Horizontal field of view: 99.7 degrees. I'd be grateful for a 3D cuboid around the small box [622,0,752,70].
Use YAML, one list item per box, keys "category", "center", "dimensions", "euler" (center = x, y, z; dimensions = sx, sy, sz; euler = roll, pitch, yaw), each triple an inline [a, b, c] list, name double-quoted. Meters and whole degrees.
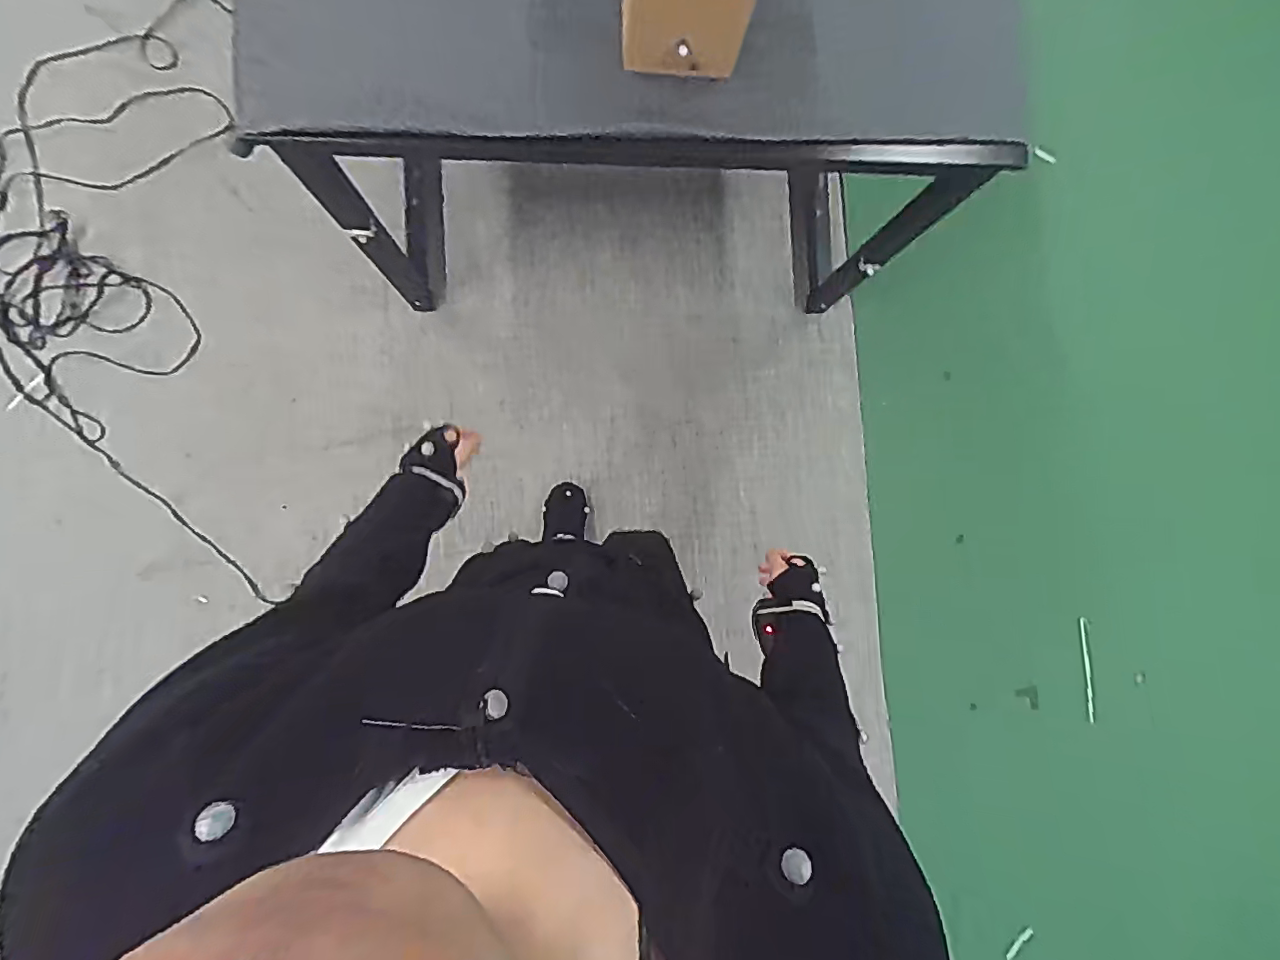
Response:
- category: "small box"
  center: [0.062, -0.715, 0.739]
  dimensions: [0.168, 0.176, 0.179]
  euler: [-1, 87, -6]
